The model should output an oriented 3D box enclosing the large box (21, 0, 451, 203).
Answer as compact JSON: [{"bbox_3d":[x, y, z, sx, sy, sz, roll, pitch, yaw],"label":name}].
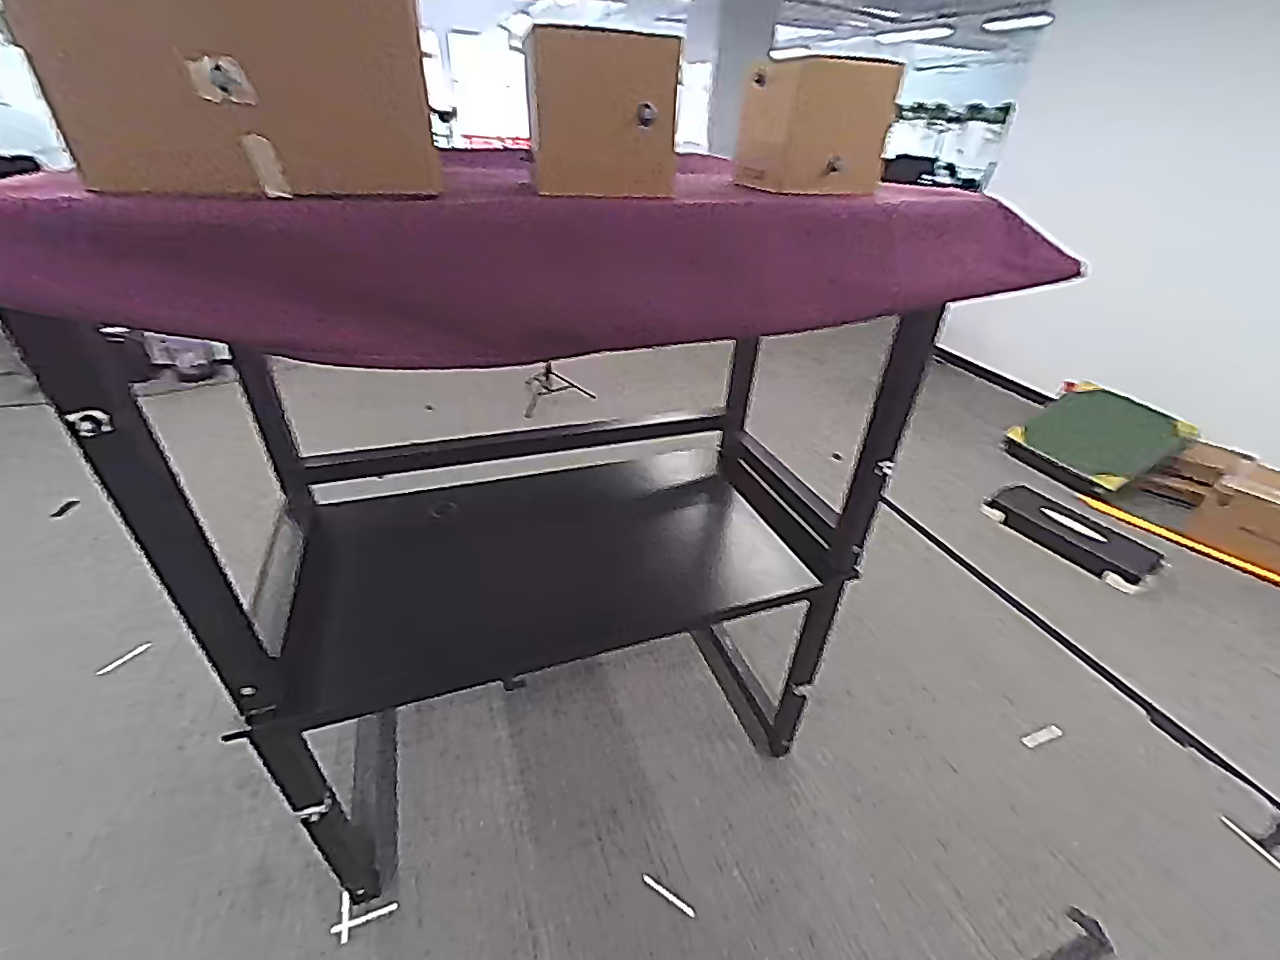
[{"bbox_3d":[-0.416,-0.504,0.607,0.320,0.320,0.408,-10,34,-20],"label":"large box"}]

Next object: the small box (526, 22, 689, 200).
[{"bbox_3d":[-0.050,-0.467,0.701,0.179,0.176,0.168,-6,33,-13],"label":"small box"}]

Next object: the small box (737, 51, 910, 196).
[{"bbox_3d":[0.269,-0.543,0.836,0.179,0.176,0.168,-8,34,-16],"label":"small box"}]
